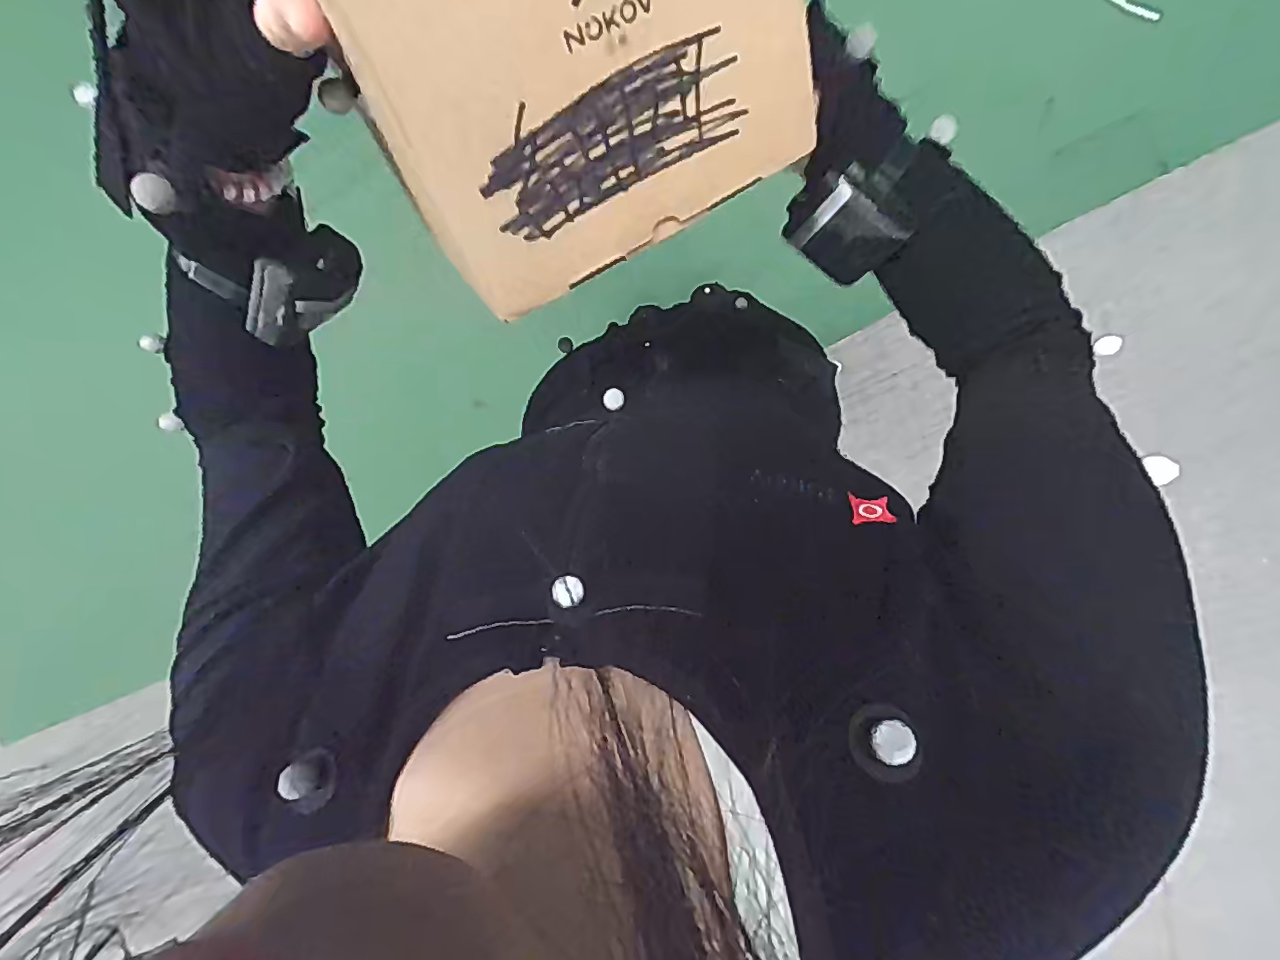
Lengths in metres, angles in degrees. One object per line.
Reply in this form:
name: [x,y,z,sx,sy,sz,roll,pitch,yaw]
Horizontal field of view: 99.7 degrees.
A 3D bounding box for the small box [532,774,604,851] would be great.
small box: [-0.237,1.139,1.833,0.179,0.176,0.168,-31,104,14]
